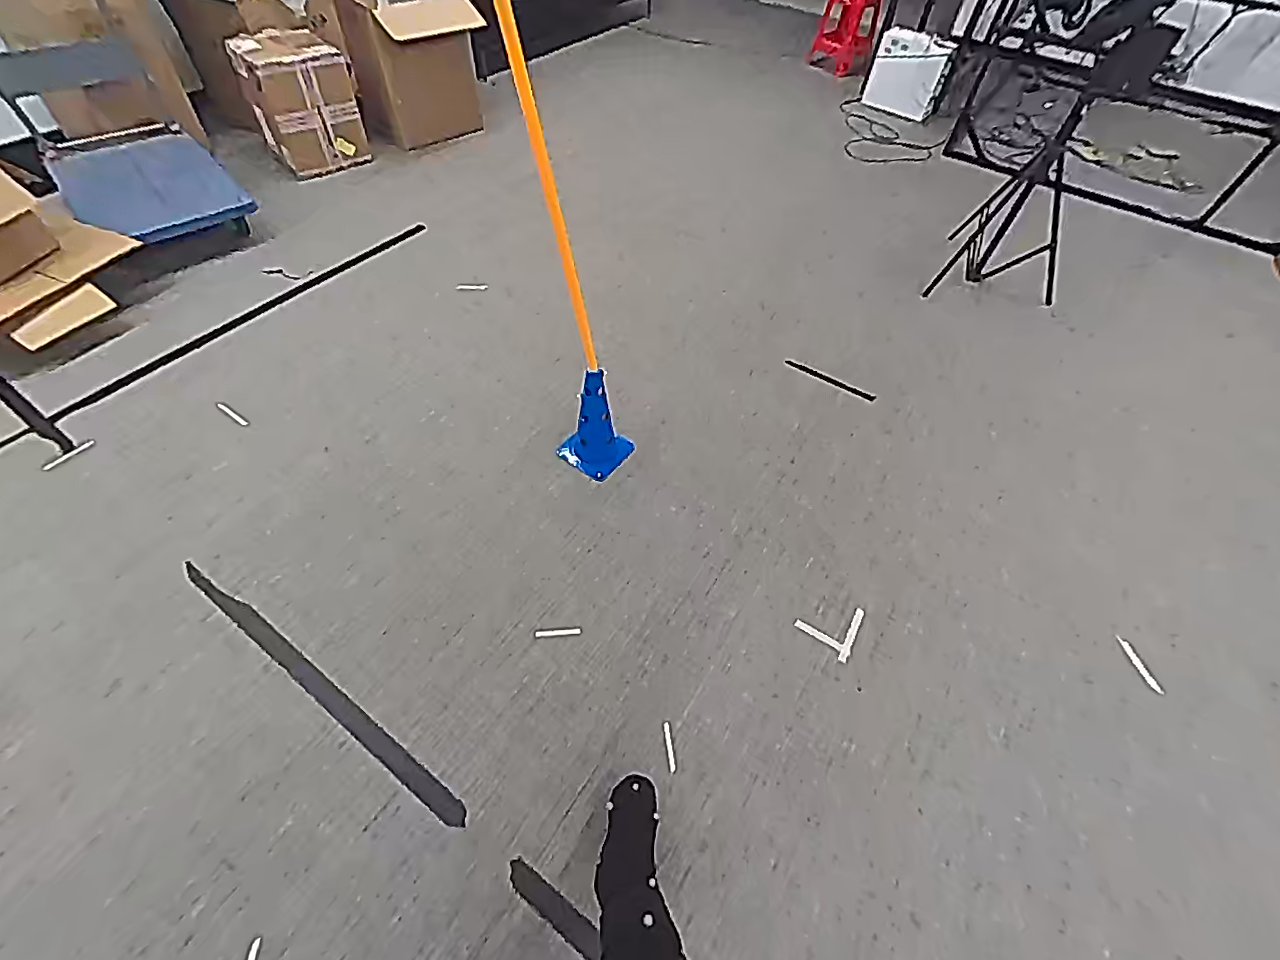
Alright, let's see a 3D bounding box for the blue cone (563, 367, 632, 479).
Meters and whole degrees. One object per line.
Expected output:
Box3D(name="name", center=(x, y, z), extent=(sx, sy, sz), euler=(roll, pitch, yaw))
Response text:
Box3D(name="blue cone", center=(-0.131, -0.199, 1.672), extent=(0.192, 0.380, 0.193), euler=(34, 58, 19))
